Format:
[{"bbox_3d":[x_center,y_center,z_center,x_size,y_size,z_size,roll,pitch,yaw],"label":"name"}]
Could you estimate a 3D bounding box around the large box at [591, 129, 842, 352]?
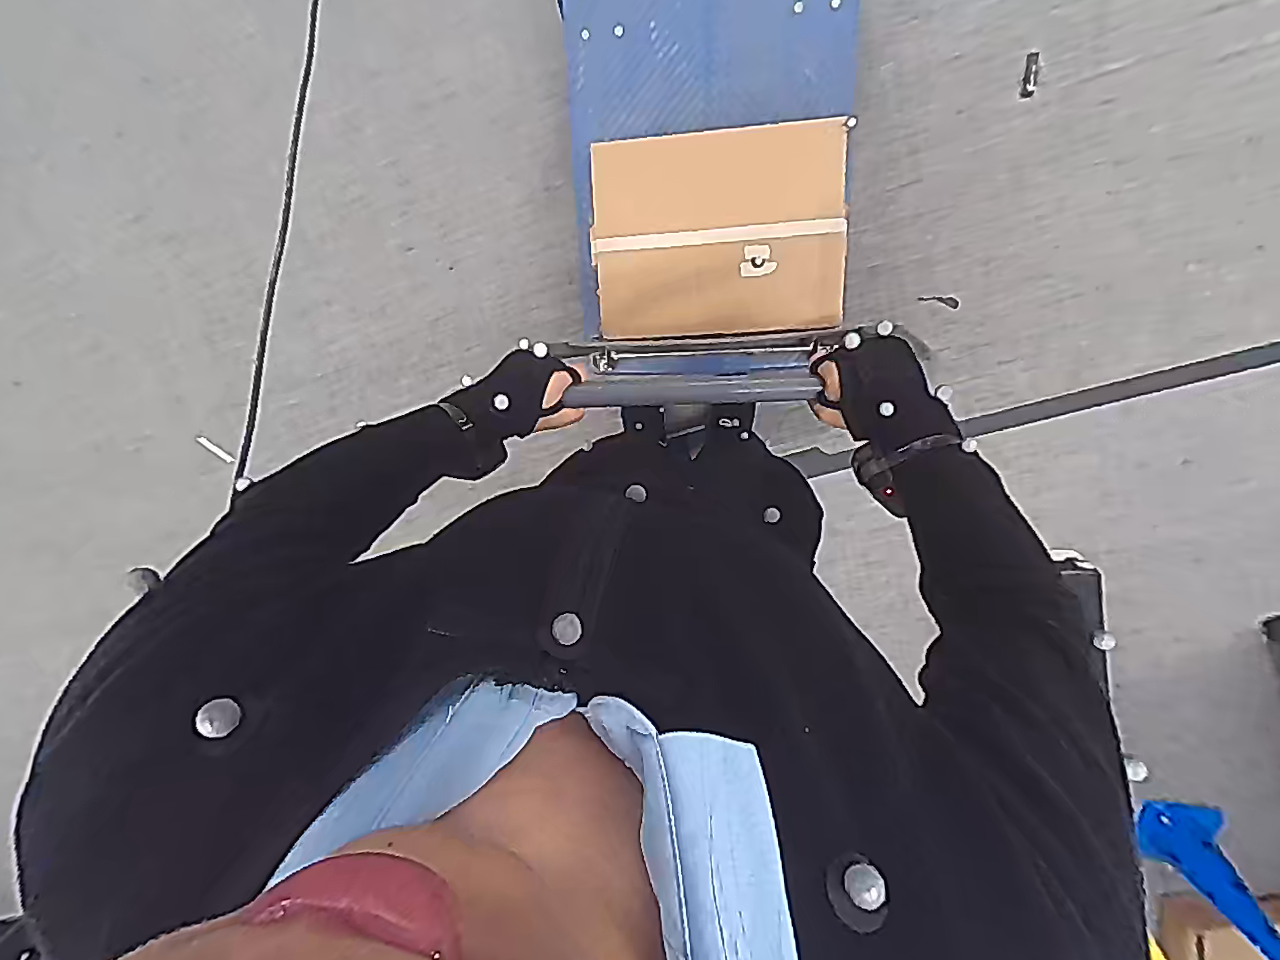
[{"bbox_3d":[0.140,-0.417,1.034,0.408,0.320,0.320,-1,103,7],"label":"large box"}]
